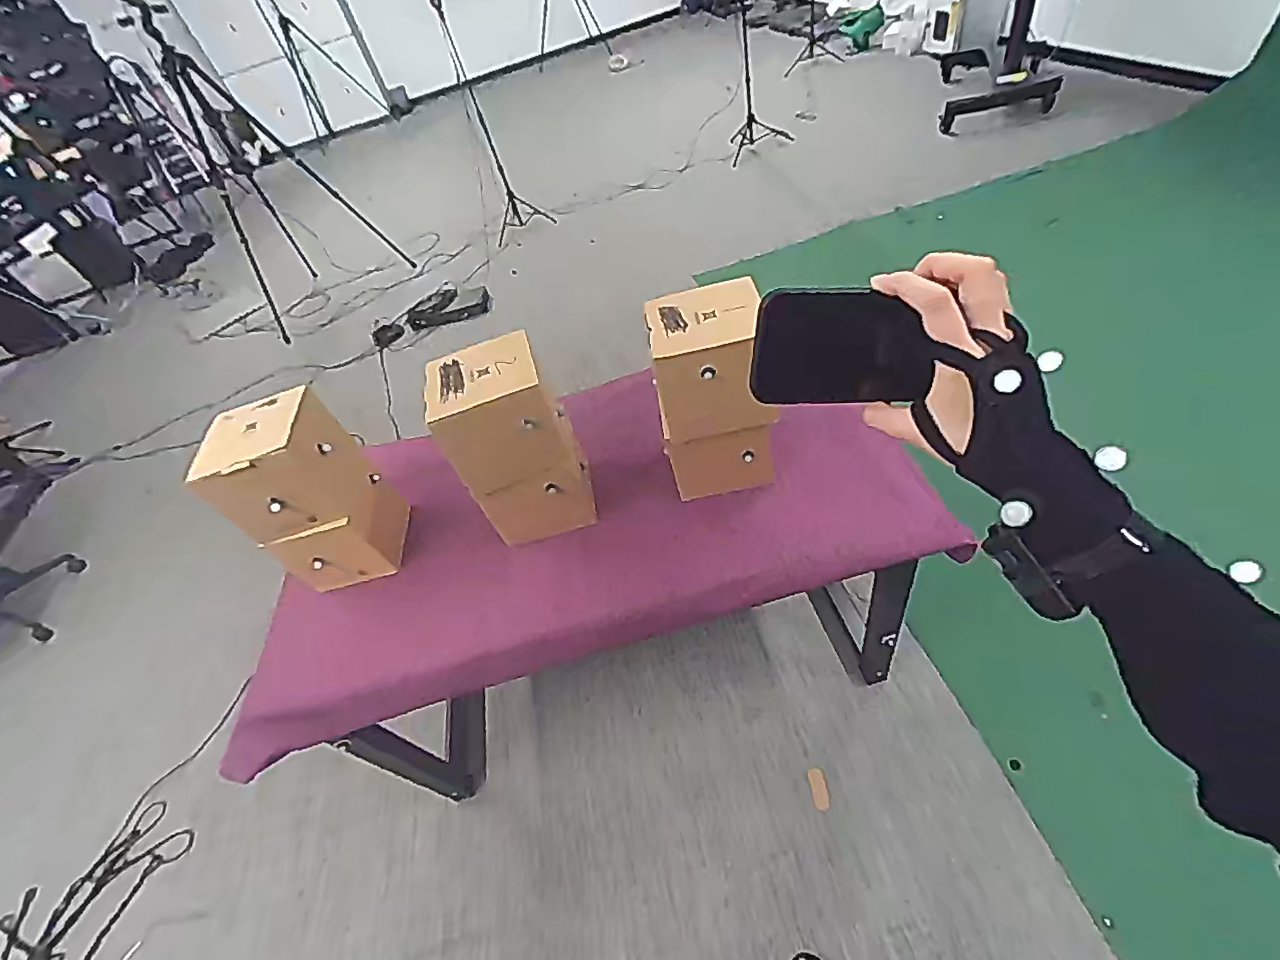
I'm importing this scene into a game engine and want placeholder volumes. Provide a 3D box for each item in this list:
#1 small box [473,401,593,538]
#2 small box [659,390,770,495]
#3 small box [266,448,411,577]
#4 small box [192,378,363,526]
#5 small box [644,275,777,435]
[{"bbox_3d":[-0.193,-0.017,1.016,0.179,0.176,0.168,-15,47,3],"label":"small box"},{"bbox_3d":[0.138,-0.095,0.987,0.179,0.176,0.168,-11,47,8],"label":"small box"},{"bbox_3d":[-0.572,0.072,1.054,0.168,0.176,0.179,-15,47,4],"label":"small box"},{"bbox_3d":[-0.610,-0.040,0.939,0.168,0.176,0.179,-18,48,0],"label":"small box"},{"bbox_3d":[0.112,-0.192,0.857,0.179,0.176,0.168,-11,47,7],"label":"small box"}]
